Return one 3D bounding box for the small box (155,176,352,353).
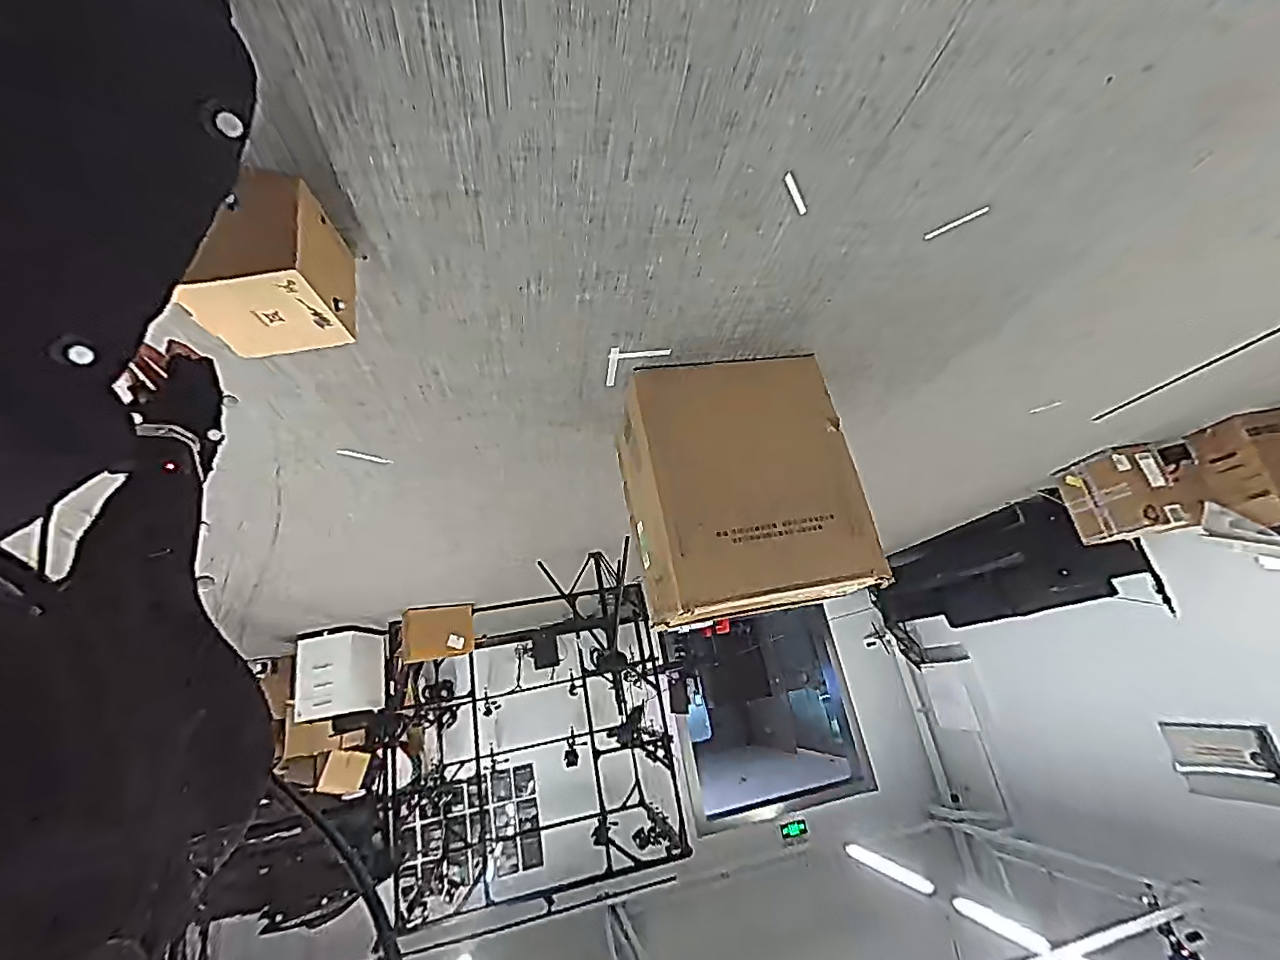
[{"bbox_3d":[-0.543,-0.311,0.790,0.179,0.176,0.168,-9,161,-4],"label":"small box"}]
